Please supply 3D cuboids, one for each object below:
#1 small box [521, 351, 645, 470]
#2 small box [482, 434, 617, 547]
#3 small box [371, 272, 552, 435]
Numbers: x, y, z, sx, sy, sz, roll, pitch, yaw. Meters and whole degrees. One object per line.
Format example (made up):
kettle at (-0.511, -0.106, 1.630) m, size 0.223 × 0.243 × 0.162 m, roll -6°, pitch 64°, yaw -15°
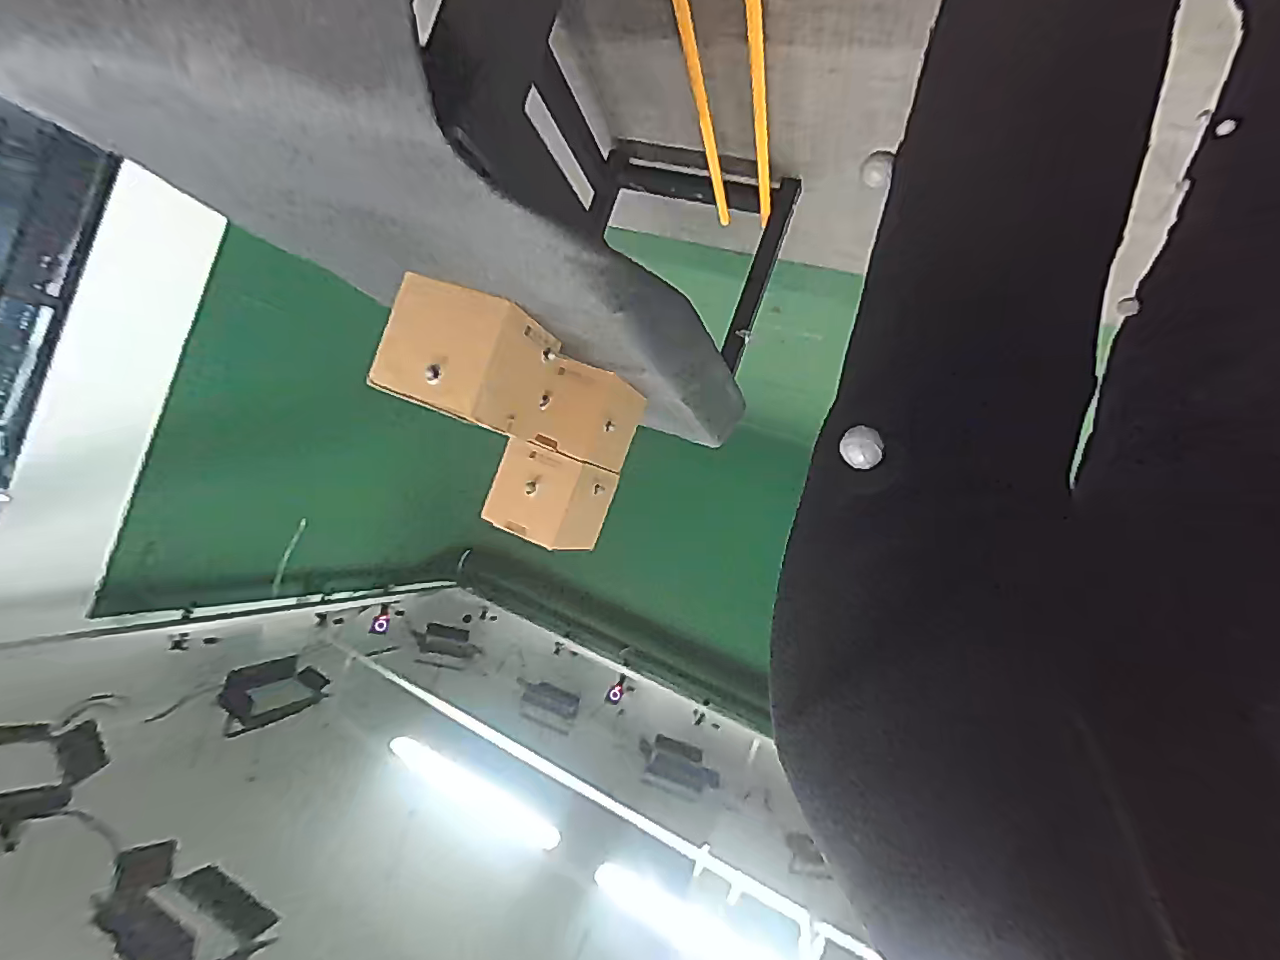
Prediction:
small box at (-0.112, -0.134, 1.046) m, size 0.168 × 0.176 × 0.179 m, roll 21°, pitch -179°, yaw 21°
small box at (-0.169, 0.021, 1.050) m, size 0.168 × 0.176 × 0.179 m, roll 21°, pitch 180°, yaw 21°
small box at (-0.248, -0.183, 0.796) m, size 0.179 × 0.176 × 0.168 m, roll 21°, pitch 180°, yaw 16°
